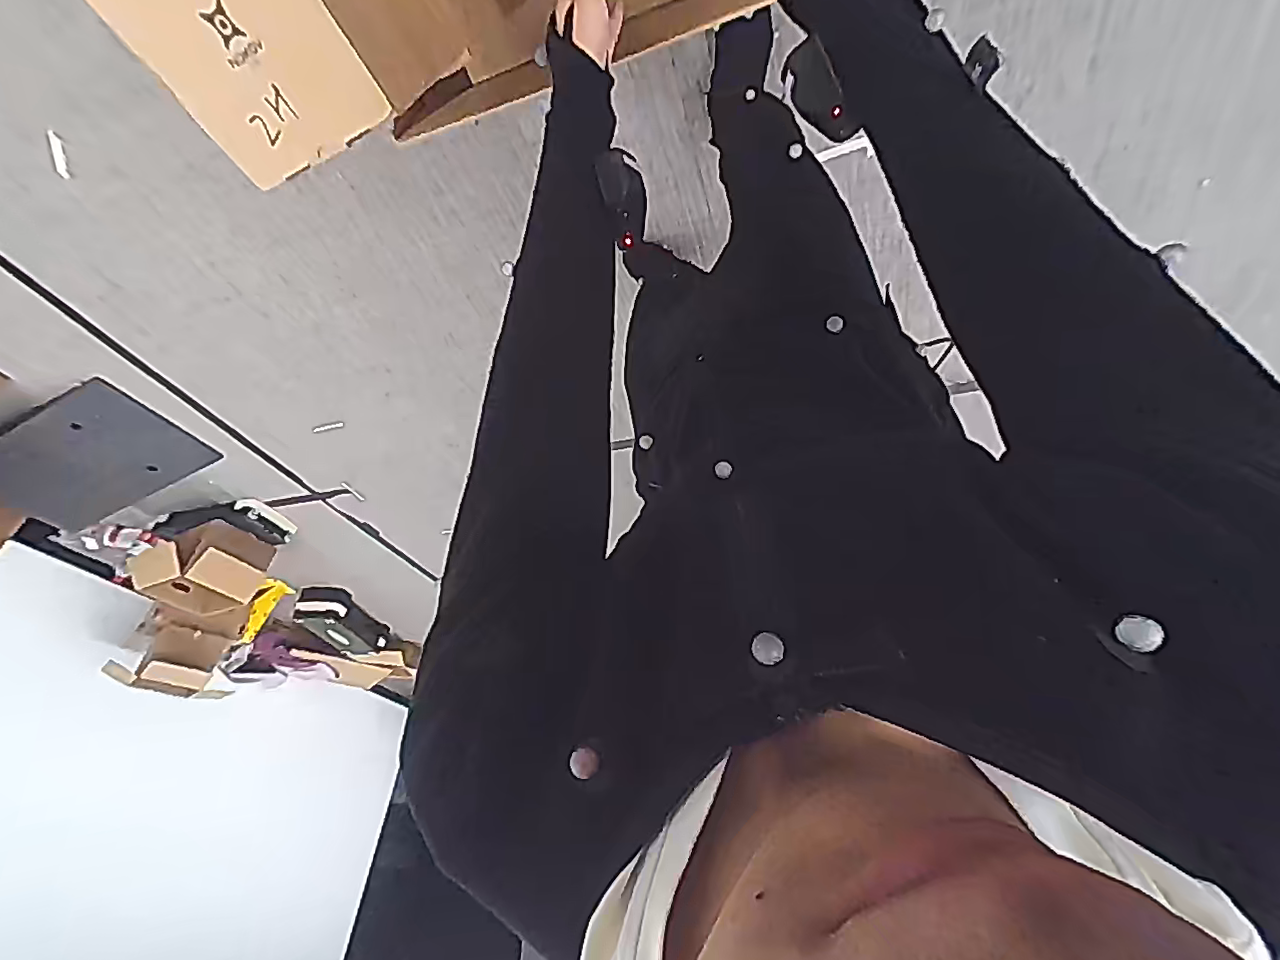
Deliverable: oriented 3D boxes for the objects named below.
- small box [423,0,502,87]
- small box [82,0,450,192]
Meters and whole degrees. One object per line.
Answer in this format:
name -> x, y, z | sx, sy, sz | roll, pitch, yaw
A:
small box -> -0.266, -0.513, 0.549 | 0.168, 0.176, 0.179 | -11, 138, 20
small box -> -0.293, -0.385, 0.447 | 0.168, 0.176, 0.179 | -12, 138, 22
